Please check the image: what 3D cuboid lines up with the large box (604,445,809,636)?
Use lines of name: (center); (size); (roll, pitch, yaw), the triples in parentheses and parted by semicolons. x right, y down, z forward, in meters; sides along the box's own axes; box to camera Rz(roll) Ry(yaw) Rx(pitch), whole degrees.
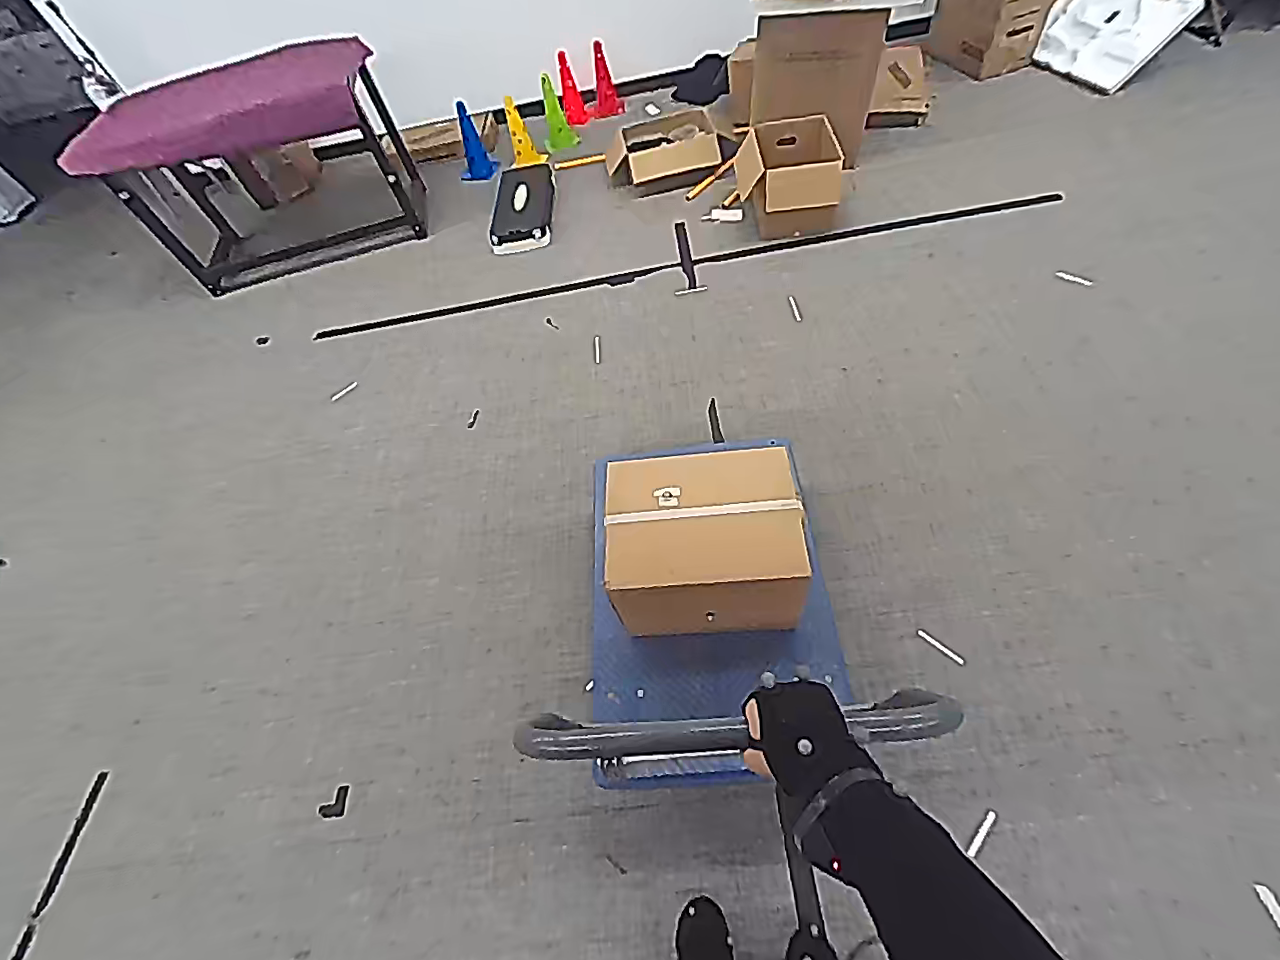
large box: (0.145, 0.153, 1.246); (0.408, 0.320, 0.320); (-6, 55, 7)
